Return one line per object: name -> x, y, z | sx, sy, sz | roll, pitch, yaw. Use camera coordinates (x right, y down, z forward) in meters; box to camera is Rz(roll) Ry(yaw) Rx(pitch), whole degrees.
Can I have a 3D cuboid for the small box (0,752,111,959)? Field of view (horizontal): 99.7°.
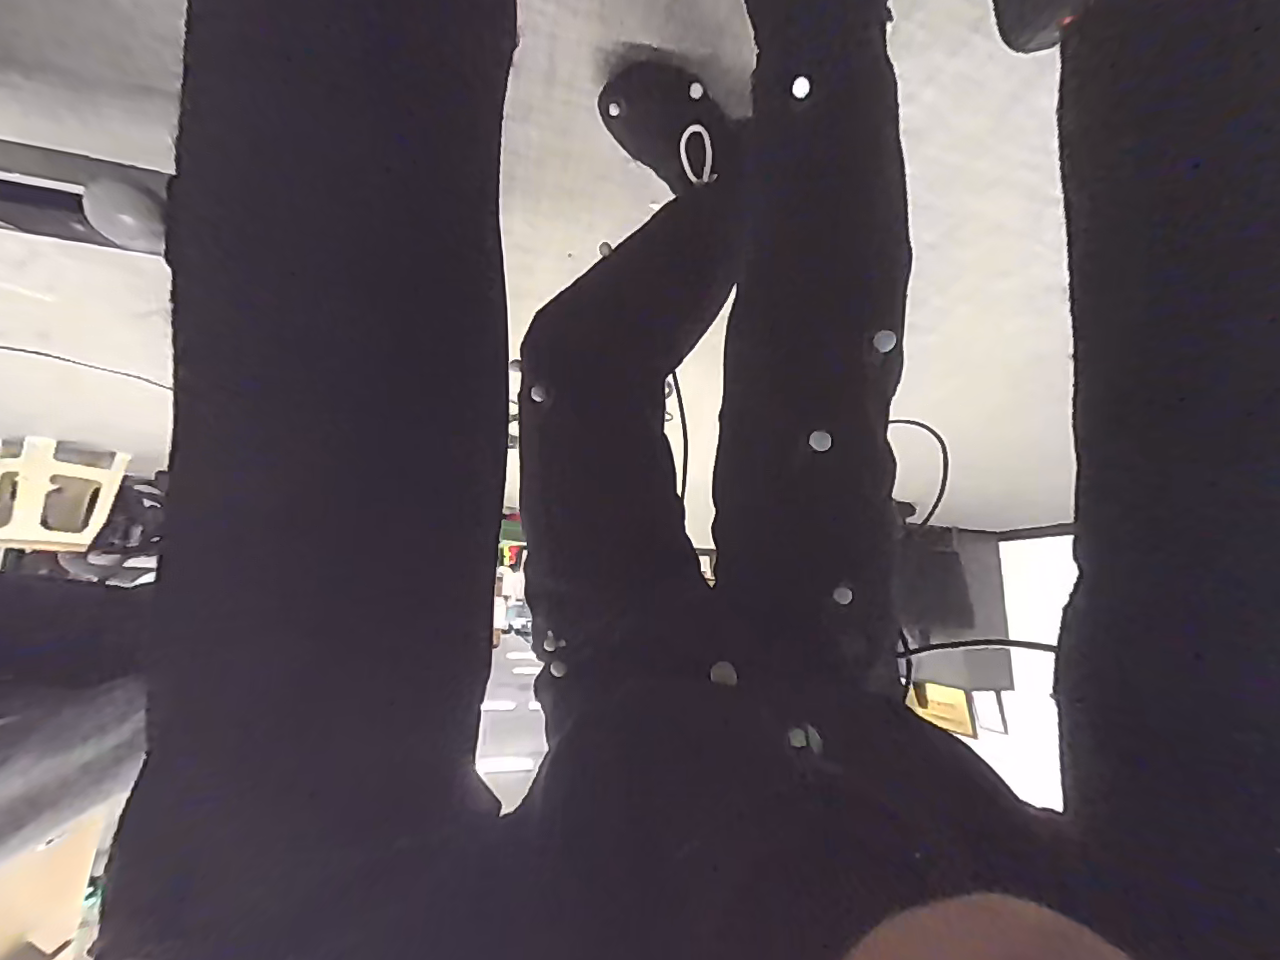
small box -> -0.564, 0.311, 0.403 | 0.179, 0.176, 0.168 | 5, 166, -13
